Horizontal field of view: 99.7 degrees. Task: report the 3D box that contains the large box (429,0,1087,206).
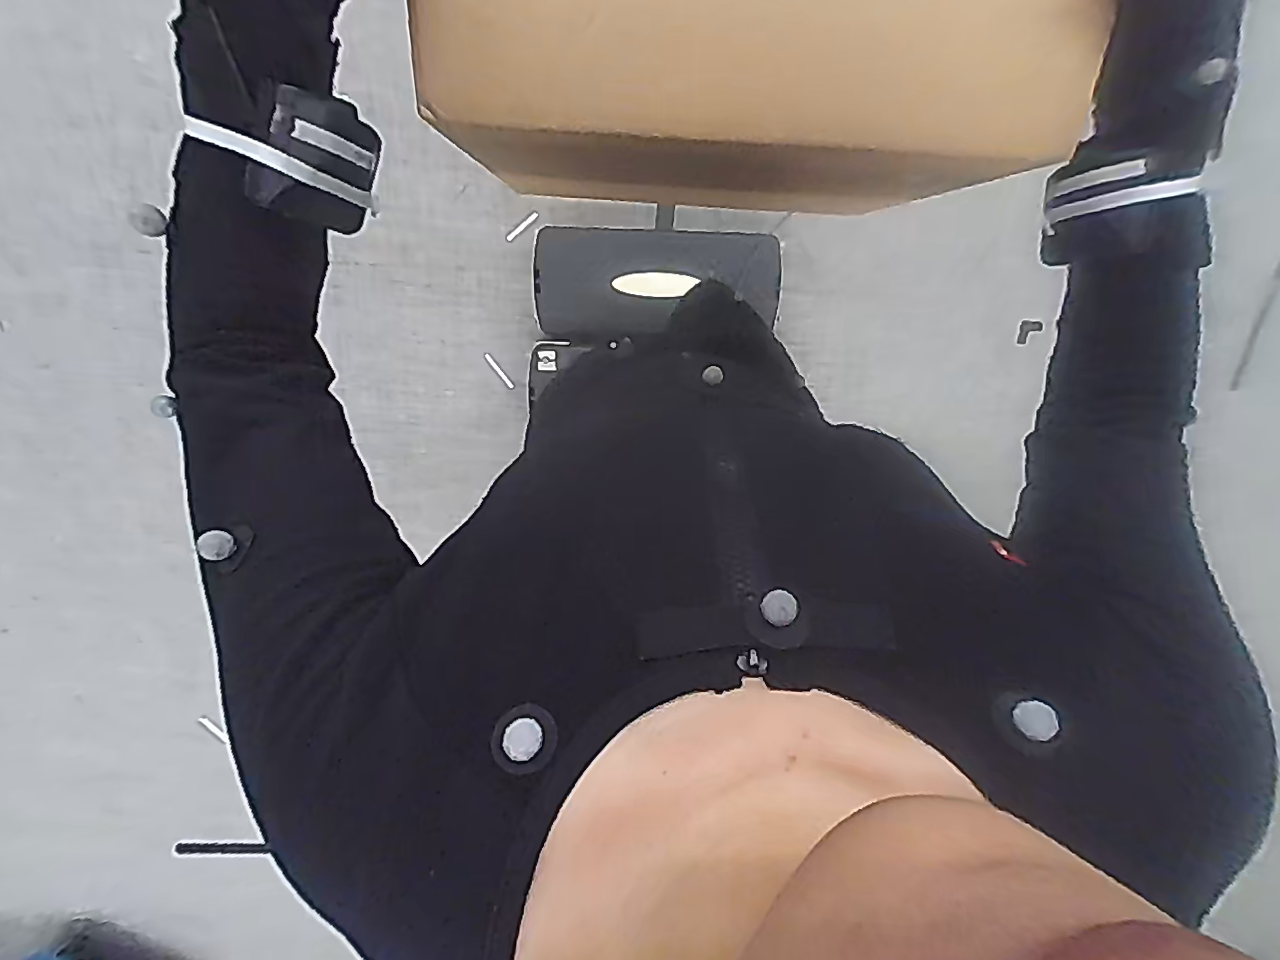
[{"bbox_3d":[0.068,-0.415,0.433,0.408,0.320,0.320,1,111,-3],"label":"large box"}]
